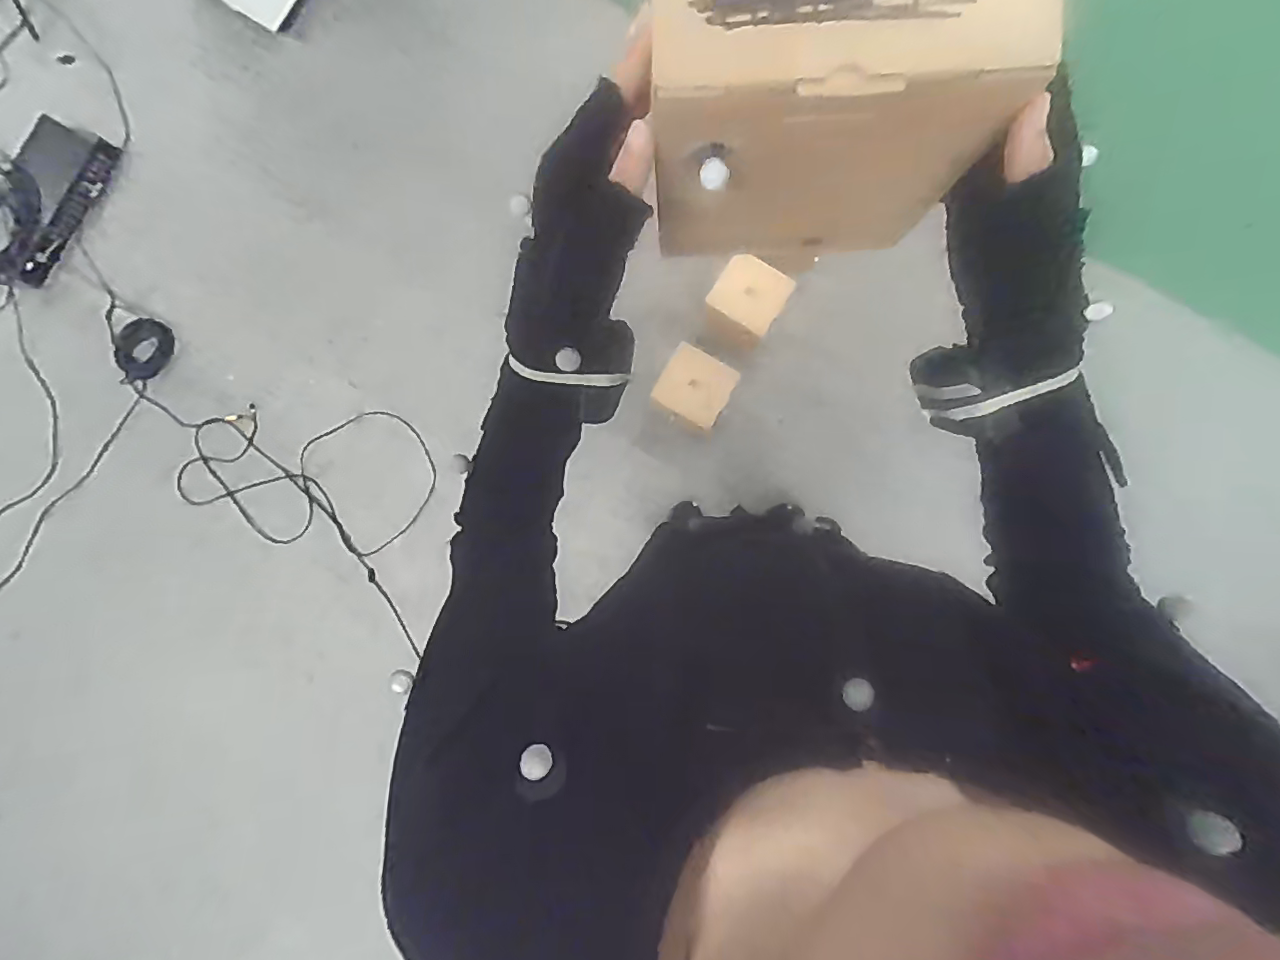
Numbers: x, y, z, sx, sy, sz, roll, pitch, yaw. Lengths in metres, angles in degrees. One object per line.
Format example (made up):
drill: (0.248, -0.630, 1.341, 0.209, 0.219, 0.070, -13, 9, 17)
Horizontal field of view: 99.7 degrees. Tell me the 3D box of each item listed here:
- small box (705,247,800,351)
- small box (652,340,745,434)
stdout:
small box: (0.284, -0.462, 1.413, 0.179, 0.176, 0.168, 32, 89, 4)
small box: (0.147, -0.231, 1.407, 0.179, 0.176, 0.168, 30, 90, 4)
